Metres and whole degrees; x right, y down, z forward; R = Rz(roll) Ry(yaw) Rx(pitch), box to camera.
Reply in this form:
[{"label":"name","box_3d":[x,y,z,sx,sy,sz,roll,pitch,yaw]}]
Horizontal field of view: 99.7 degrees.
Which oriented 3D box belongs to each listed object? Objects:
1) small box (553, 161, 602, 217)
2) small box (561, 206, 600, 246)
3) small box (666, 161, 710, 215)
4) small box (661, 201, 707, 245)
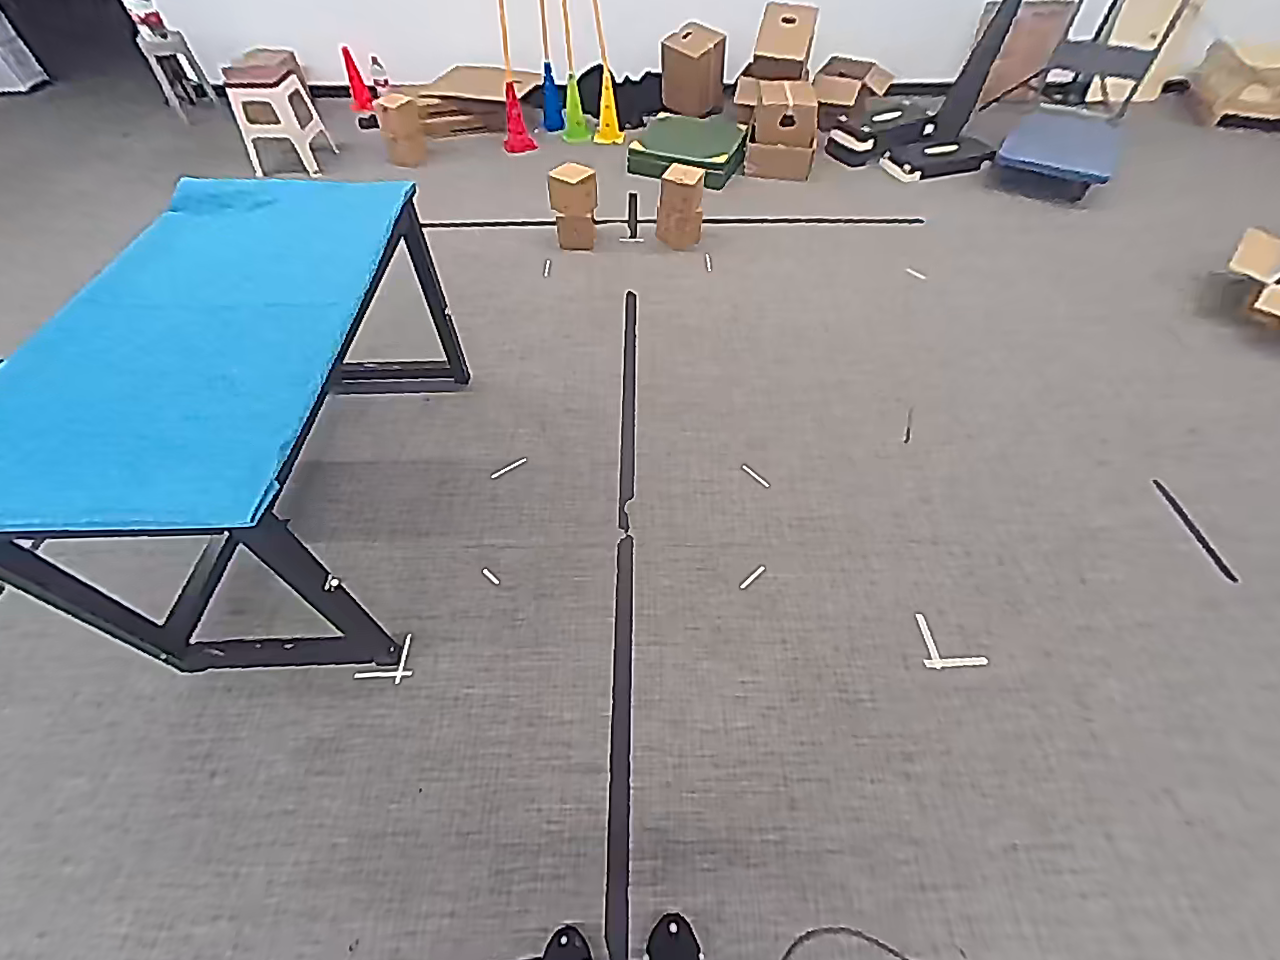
[{"label":"small box","box_3d":[-0.303,-1.423,2.634,0.179,0.176,0.168,28,57,19]},{"label":"small box","box_3d":[-0.300,-1.311,2.759,0.179,0.176,0.168,1,52,2]},{"label":"small box","box_3d":[0.231,-1.423,2.637,0.168,0.176,0.179,20,55,12]},{"label":"small box","box_3d":[0.225,-1.333,2.776,0.179,0.176,0.168,-27,57,-20]}]
